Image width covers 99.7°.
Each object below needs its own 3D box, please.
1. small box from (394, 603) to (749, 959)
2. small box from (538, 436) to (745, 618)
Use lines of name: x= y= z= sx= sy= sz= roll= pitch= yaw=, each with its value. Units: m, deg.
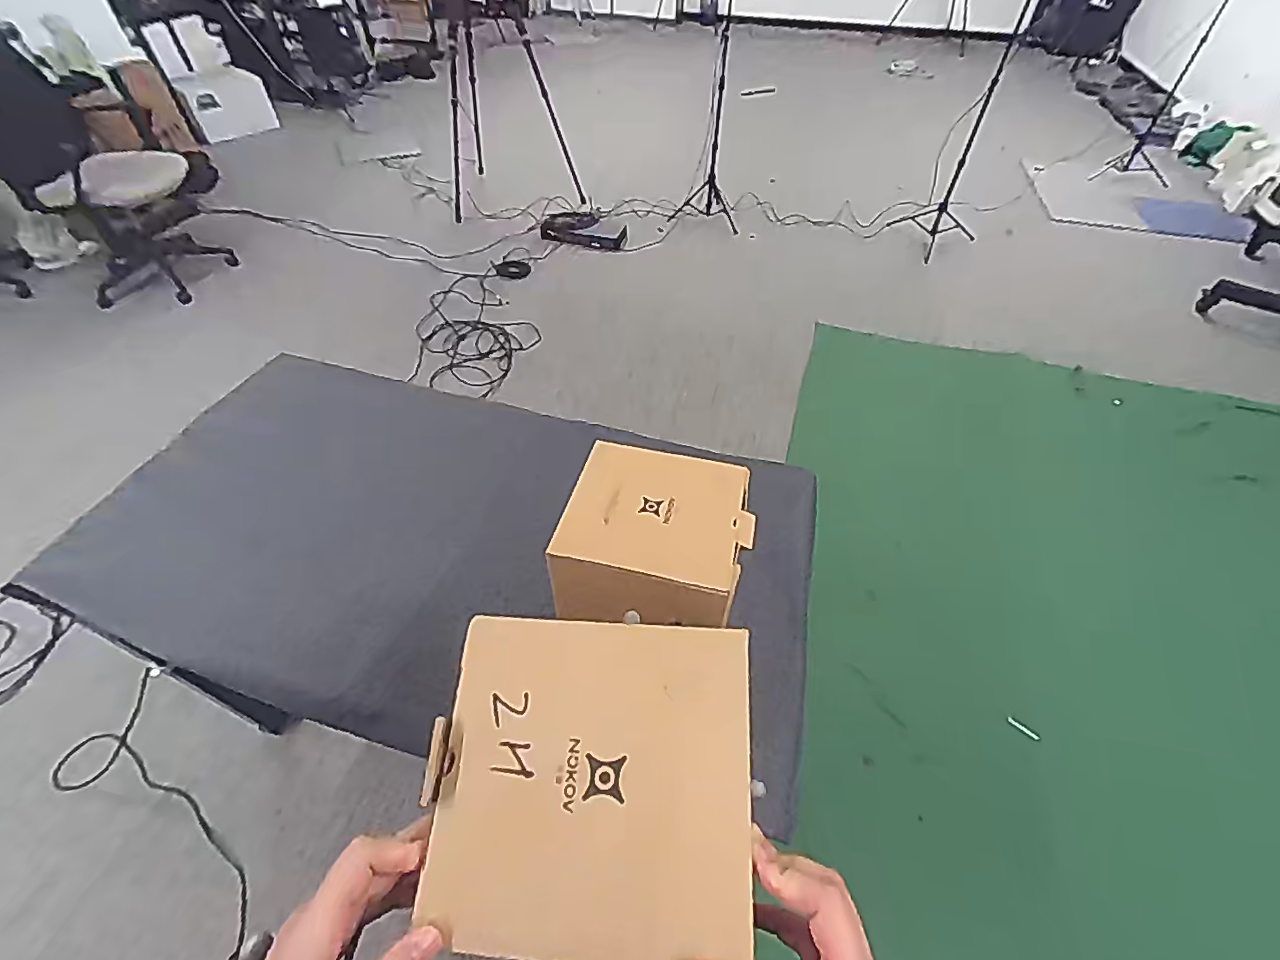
small box: x=-0.022 y=0.186 z=0.362 sx=0.179 sy=0.176 sz=0.168 roll=0 pitch=64 yaw=8
small box: x=0.009 y=0.078 z=0.592 sx=0.179 sy=0.176 sz=0.168 roll=9 pitch=46 yaw=10
